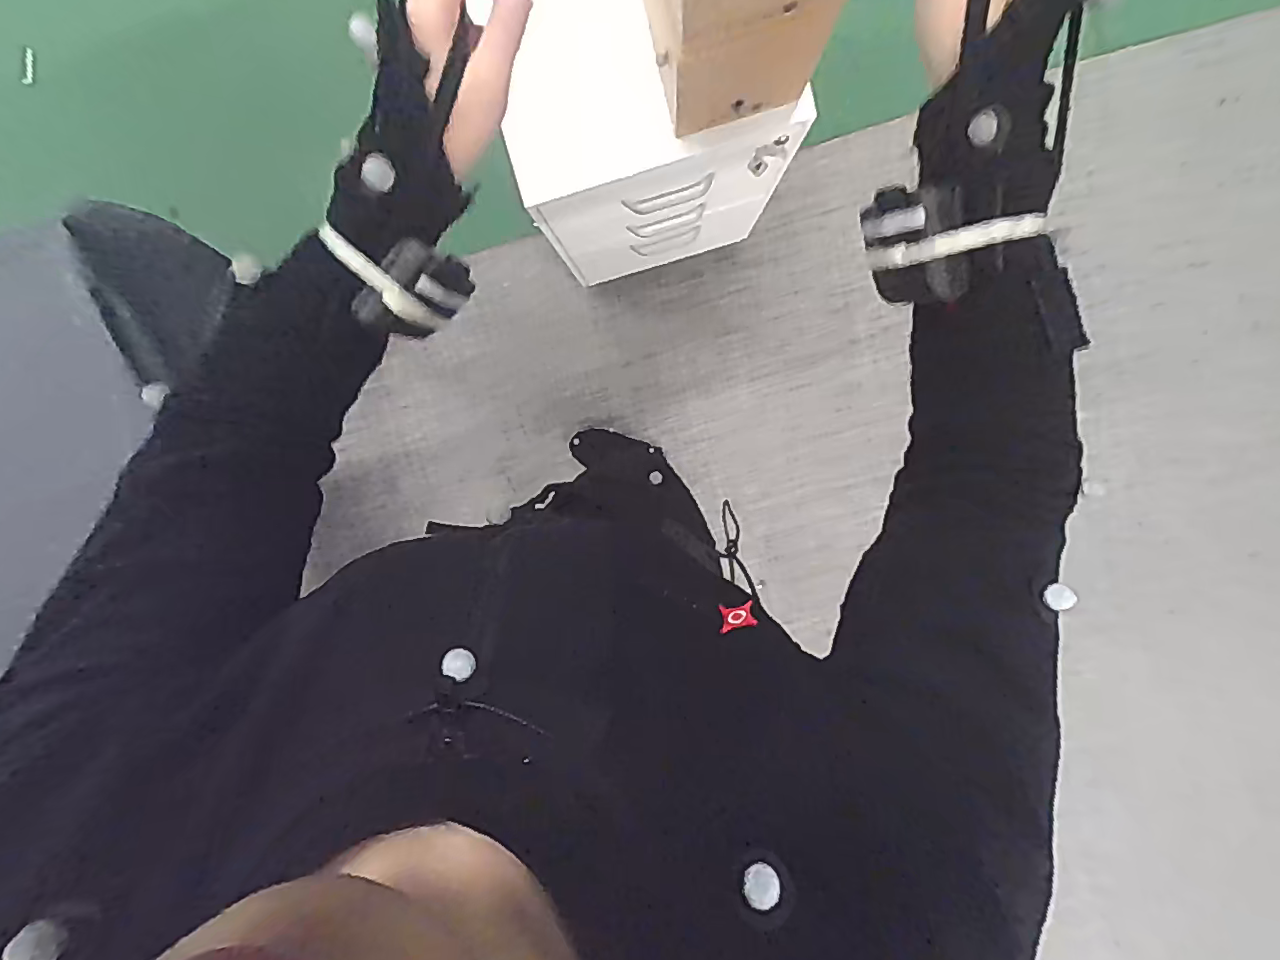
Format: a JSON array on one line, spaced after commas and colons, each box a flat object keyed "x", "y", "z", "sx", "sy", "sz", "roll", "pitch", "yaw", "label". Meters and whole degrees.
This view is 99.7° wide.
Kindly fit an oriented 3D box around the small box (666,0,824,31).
[{"x": 0.091, "y": -0.510, "z": 0.432, "sx": 0.168, "sy": 0.176, "sz": 0.179, "roll": -14, "pitch": 98, "yaw": 4, "label": "small box"}]
